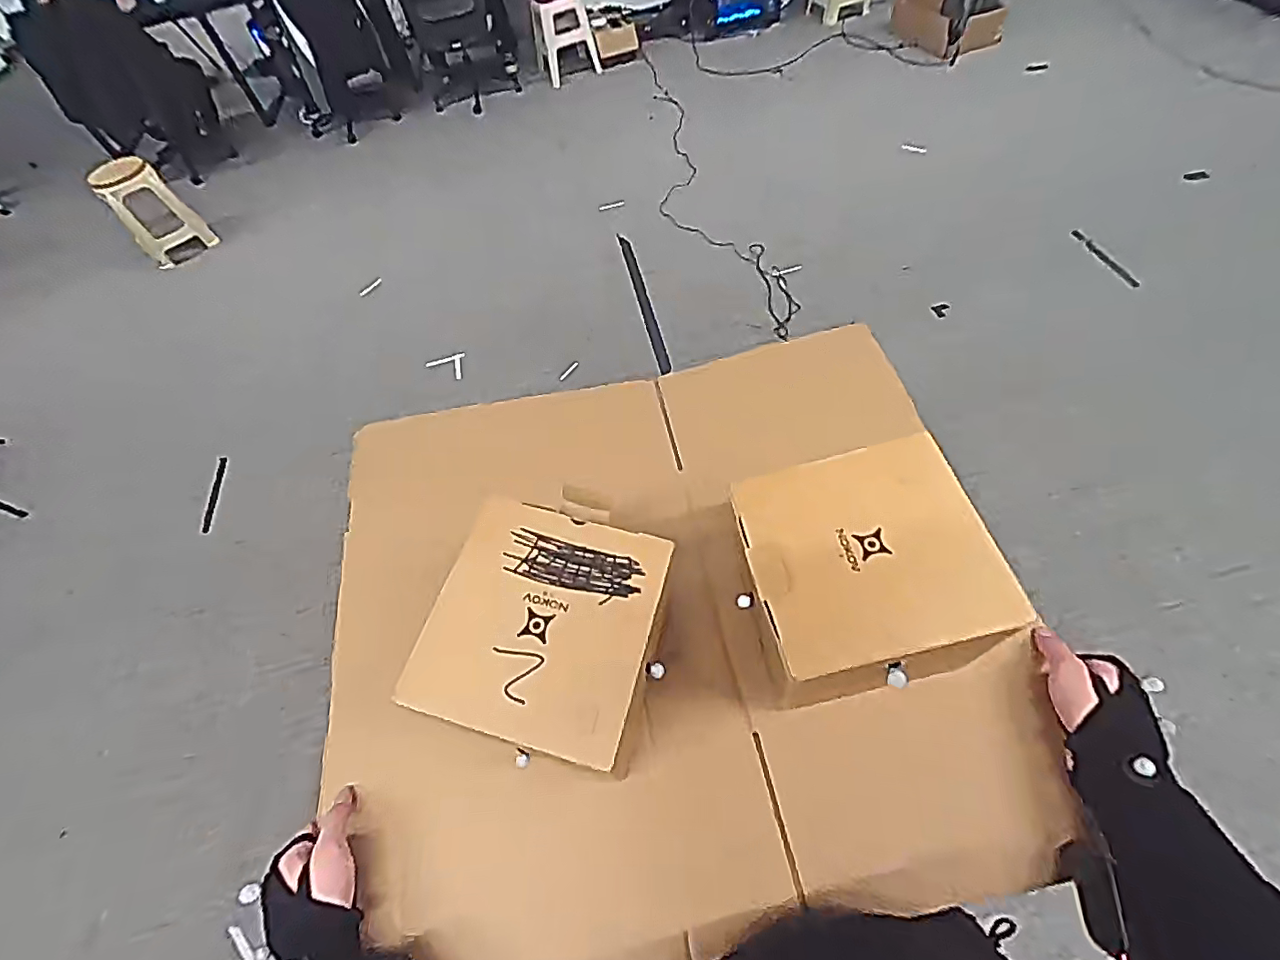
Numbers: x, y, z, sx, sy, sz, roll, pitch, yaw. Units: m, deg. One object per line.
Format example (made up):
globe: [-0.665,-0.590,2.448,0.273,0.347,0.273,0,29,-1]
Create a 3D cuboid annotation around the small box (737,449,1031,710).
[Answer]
small box: [0.196,0.100,0.497,0.179,0.176,0.168,-15,59,4]
